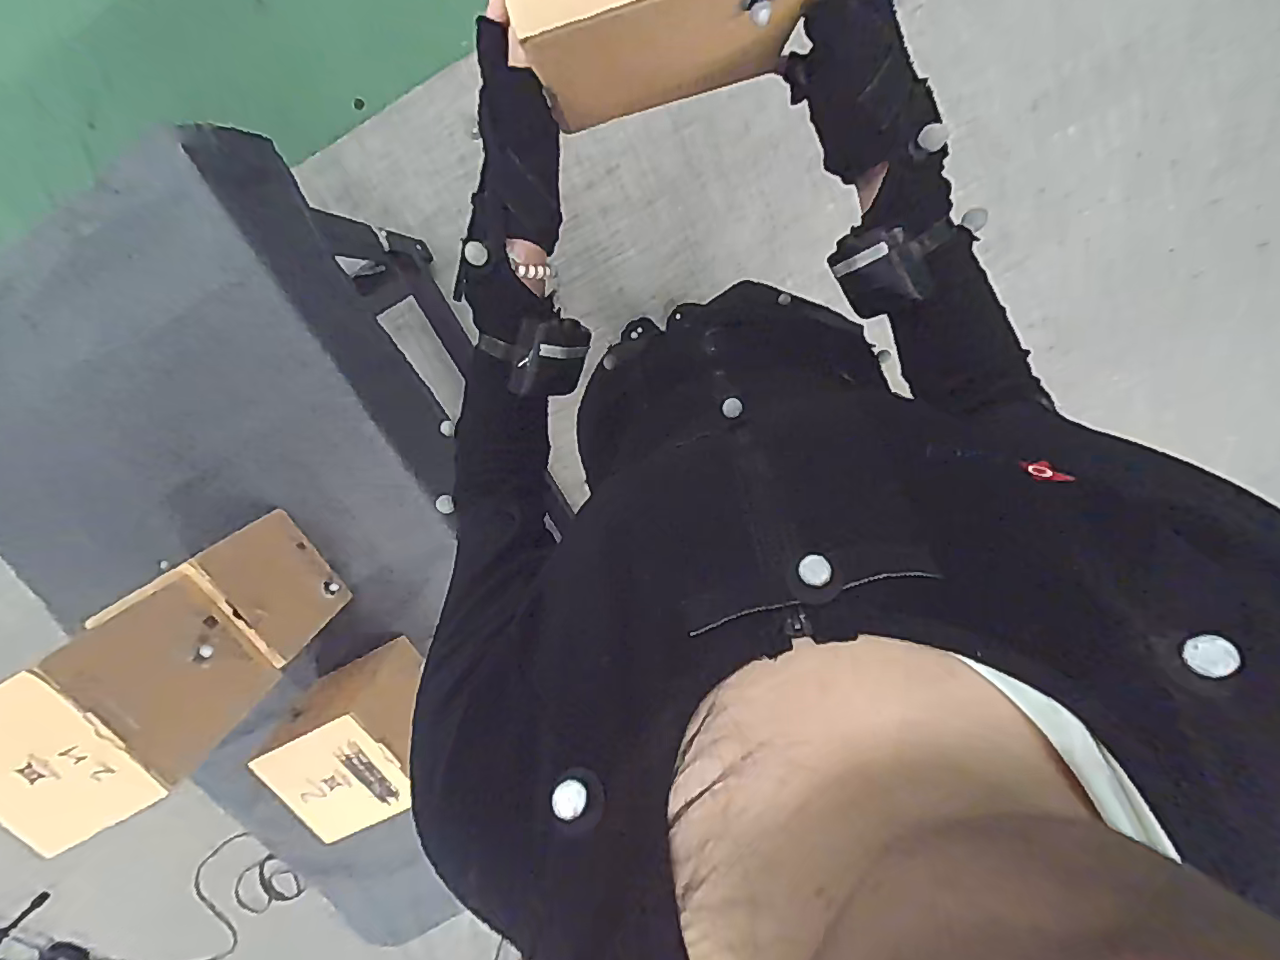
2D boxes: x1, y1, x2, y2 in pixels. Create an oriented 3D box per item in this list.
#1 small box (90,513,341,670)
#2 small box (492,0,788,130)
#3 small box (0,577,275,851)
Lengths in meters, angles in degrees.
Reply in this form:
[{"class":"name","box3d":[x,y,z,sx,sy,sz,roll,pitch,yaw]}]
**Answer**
[{"class":"small box","box3d":[-0.541,0.168,0.726,0.179,0.176,0.168,-28,105,10]},{"class":"small box","box3d":[-0.005,-0.345,0.327,0.179,0.176,0.168,-14,107,4]},{"class":"small box","box3d":[-0.550,0.236,0.576,0.179,0.176,0.168,-29,106,9]}]
